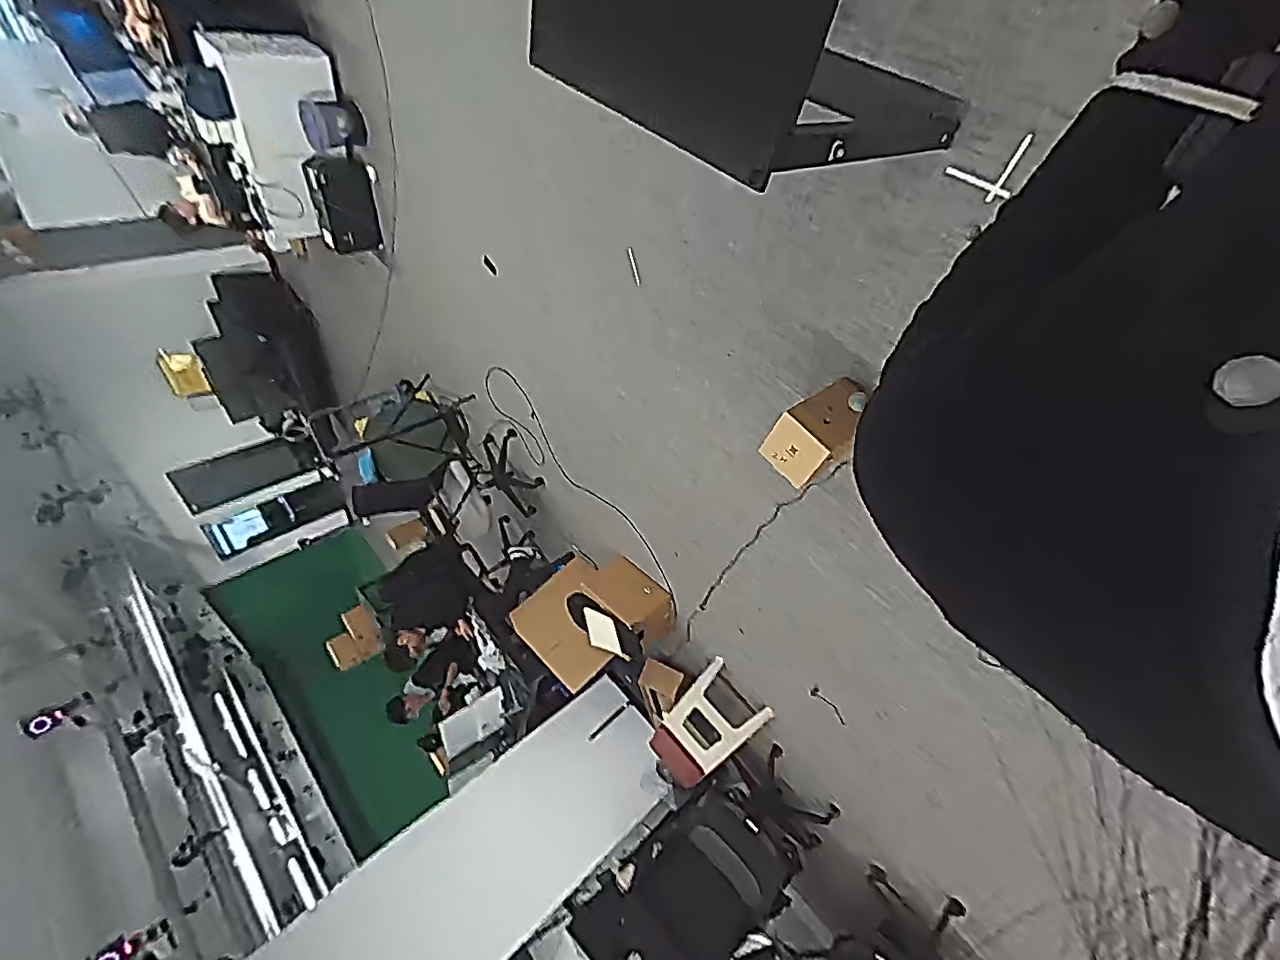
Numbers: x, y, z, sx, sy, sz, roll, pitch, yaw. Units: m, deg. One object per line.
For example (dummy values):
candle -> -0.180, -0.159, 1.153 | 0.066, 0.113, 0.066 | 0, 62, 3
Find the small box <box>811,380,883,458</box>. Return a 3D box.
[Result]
small box -> 0.590, -0.181, 1.635 | 0.179, 0.176, 0.168 | 49, 144, 16

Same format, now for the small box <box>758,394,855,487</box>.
small box -> 0.477, -0.118, 1.534 | 0.168, 0.176, 0.179 | 49, 144, 19
